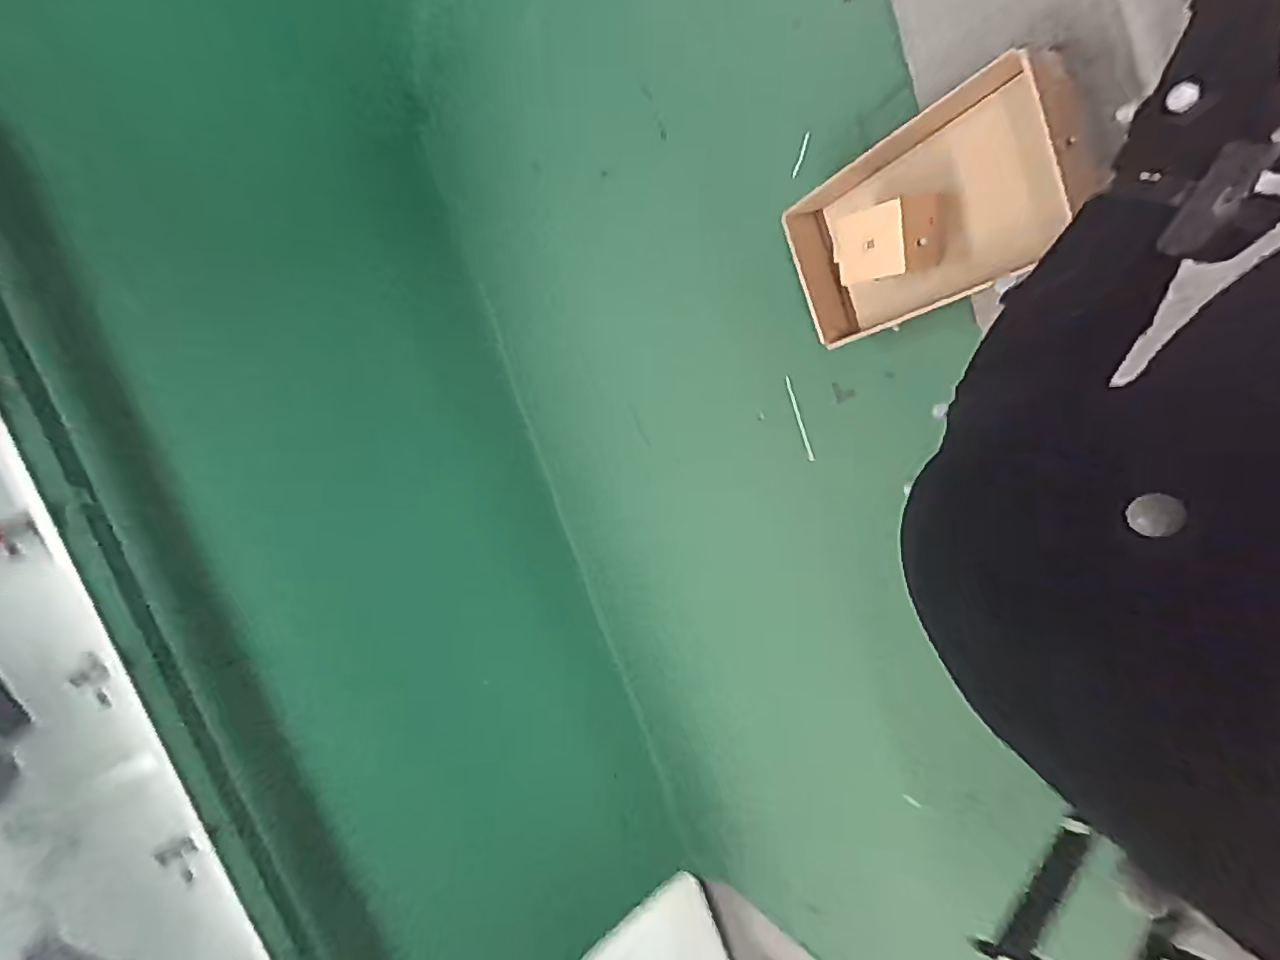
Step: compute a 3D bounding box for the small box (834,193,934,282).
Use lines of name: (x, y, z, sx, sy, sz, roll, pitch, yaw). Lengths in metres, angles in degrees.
small box: (0.619, -0.610, 1.361, 0.179, 0.176, 0.168, 11, 118, 54)
